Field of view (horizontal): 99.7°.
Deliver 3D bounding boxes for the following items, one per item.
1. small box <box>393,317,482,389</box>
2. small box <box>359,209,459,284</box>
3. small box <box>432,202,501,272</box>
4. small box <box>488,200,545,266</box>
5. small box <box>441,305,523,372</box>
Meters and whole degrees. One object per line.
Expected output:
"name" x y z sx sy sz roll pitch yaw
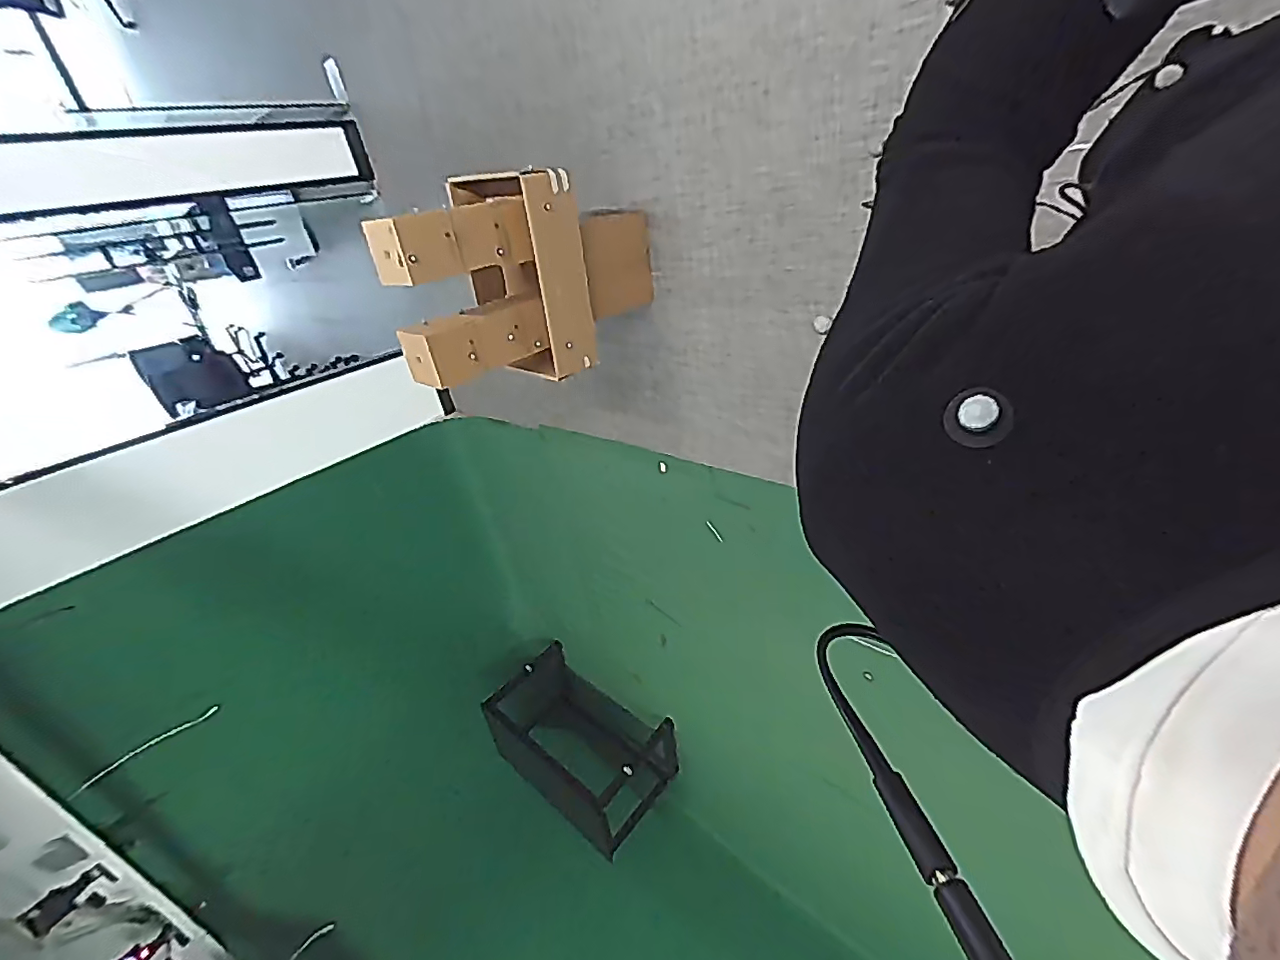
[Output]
"small box" -0.612 -0.393 1.644 0.179 0.176 0.168 19 129 38
"small box" -0.631 -0.643 1.490 0.179 0.176 0.168 17 128 38
"small box" -0.529 -0.717 1.595 0.179 0.176 0.168 18 127 38
"small box" -0.426 -0.784 1.706 0.179 0.176 0.168 21 130 35
"small box" -0.507 -0.464 1.747 0.179 0.176 0.168 18 129 38
